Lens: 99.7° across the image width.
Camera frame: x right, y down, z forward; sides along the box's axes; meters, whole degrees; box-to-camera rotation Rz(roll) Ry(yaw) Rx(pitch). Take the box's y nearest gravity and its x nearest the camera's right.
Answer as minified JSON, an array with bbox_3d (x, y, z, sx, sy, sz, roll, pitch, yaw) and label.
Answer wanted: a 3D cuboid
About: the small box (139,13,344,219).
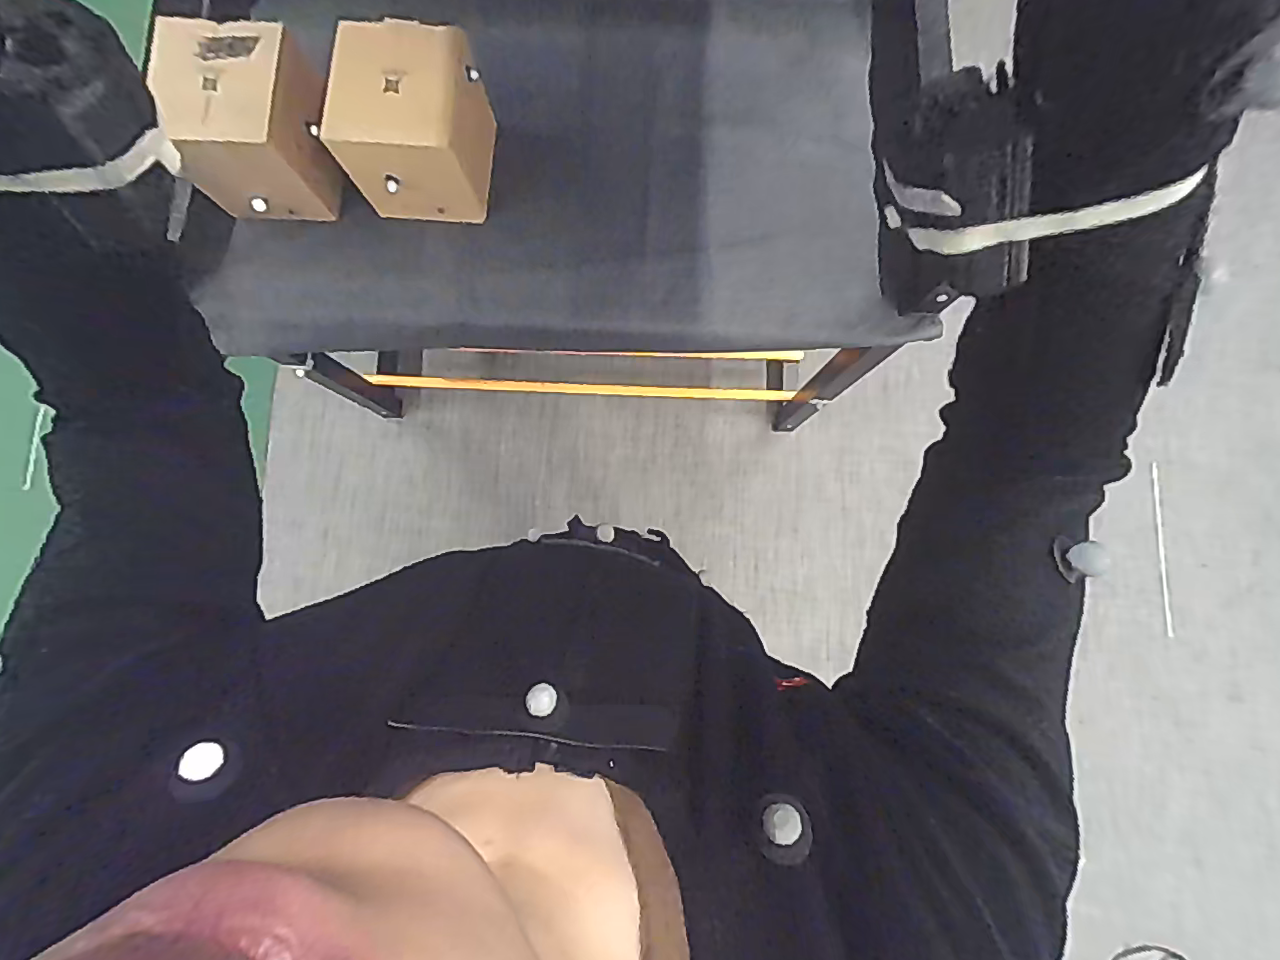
[{"bbox_3d":[-0.547,-0.506,0.771,0.168,0.176,0.179,2,83,-1],"label":"small box"}]

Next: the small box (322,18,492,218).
[{"bbox_3d":[-0.319,-0.505,0.776,0.168,0.176,0.179,3,82,0],"label":"small box"}]
